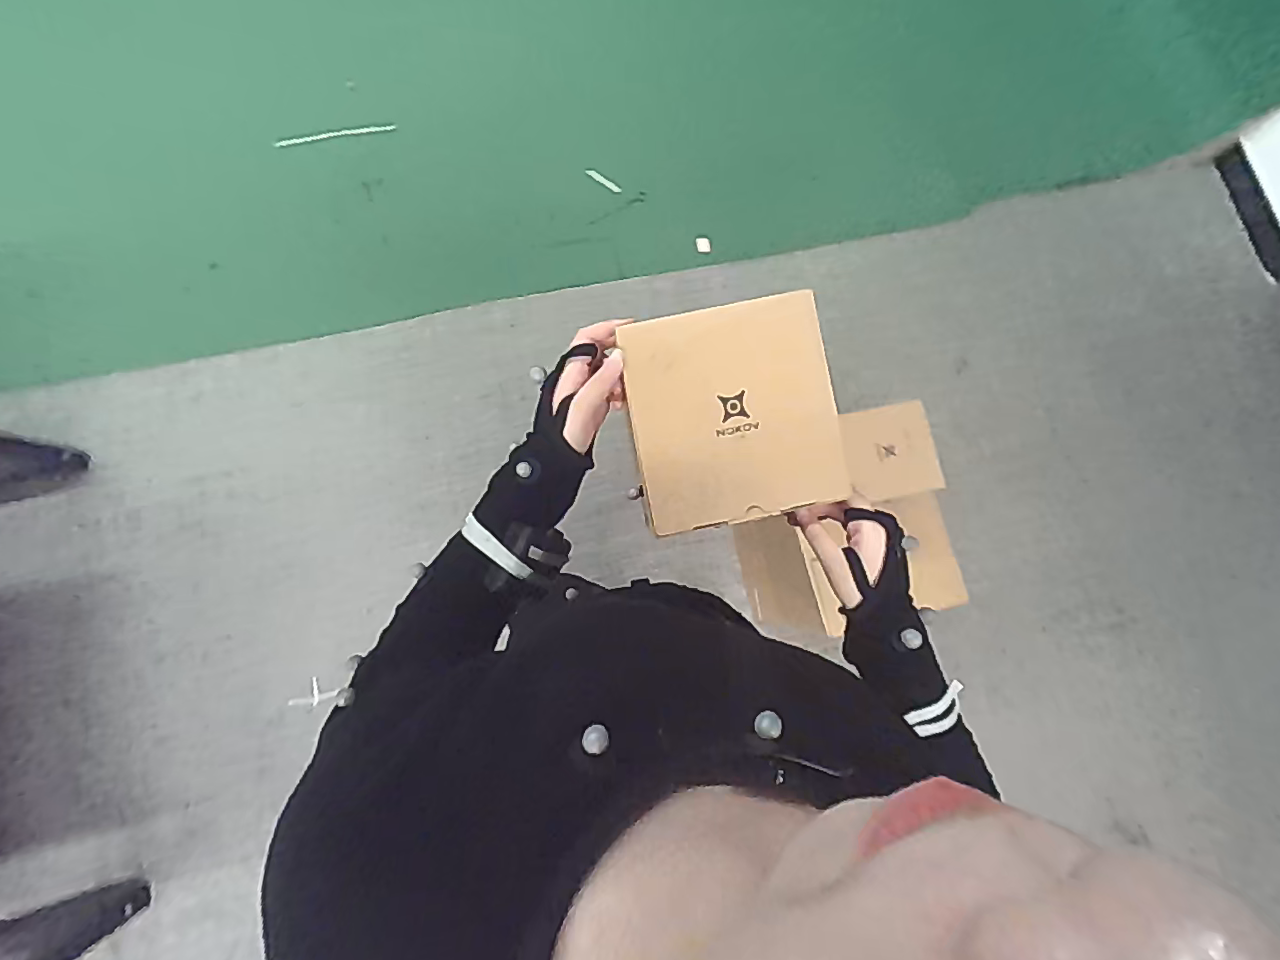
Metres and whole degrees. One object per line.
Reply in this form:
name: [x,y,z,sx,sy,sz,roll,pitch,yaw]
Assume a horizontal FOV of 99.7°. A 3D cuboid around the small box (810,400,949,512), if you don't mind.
small box: [0.440,-0.038,1.031,0.179,0.176,0.168,-11,83,-4]
